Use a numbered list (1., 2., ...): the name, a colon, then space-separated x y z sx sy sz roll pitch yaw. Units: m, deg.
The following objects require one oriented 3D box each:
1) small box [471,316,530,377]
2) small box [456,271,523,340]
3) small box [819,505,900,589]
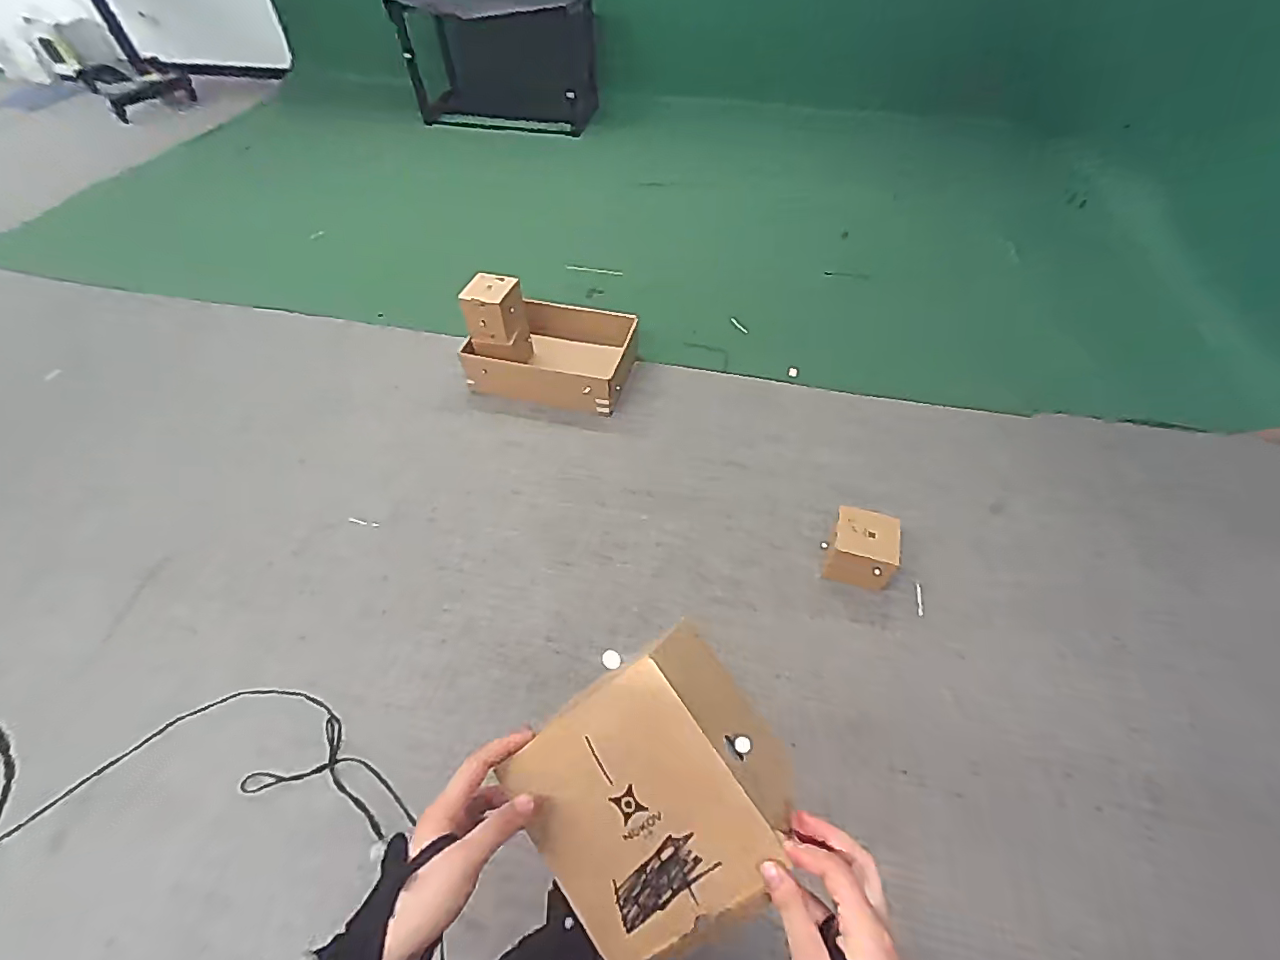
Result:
1. small box: -0.544 -0.536 2.138 0.168 0.176 0.179 8 54 8
2. small box: -0.553 -0.648 2.018 0.168 0.176 0.179 13 54 11
3. small box: 0.647 0.204 1.604 0.179 0.176 0.168 14 53 12
